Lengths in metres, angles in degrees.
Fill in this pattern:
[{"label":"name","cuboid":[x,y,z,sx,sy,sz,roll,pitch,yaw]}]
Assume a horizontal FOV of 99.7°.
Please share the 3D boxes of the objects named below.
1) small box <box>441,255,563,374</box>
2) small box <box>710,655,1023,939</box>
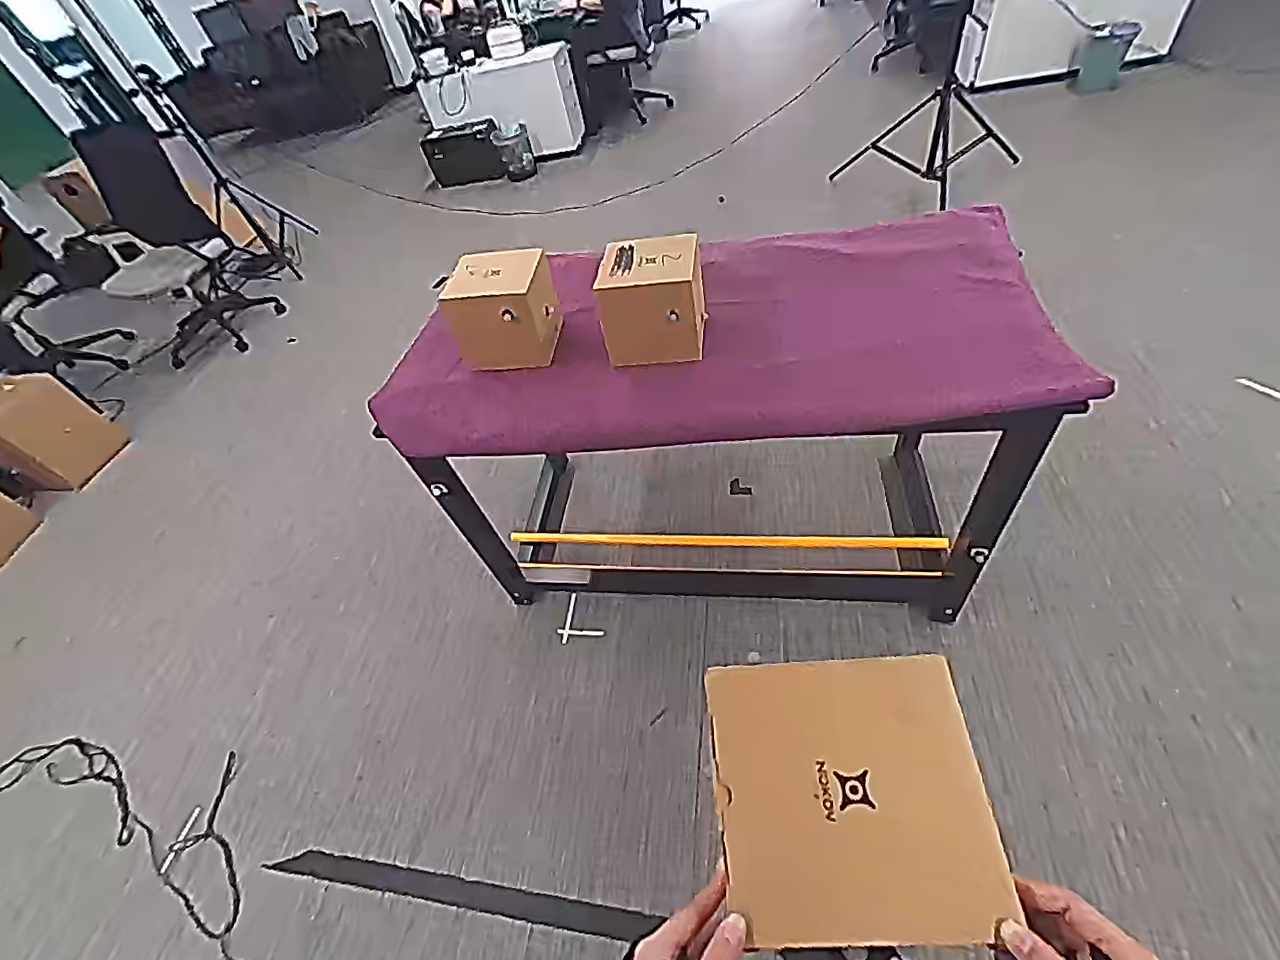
[{"label":"small box","cuboid":[-0.268,-0.332,1.099,0.179,0.176,0.168,-1,49,9]},{"label":"small box","cuboid":[0.152,0.244,0.437,0.179,0.176,0.168,-7,61,6]}]
